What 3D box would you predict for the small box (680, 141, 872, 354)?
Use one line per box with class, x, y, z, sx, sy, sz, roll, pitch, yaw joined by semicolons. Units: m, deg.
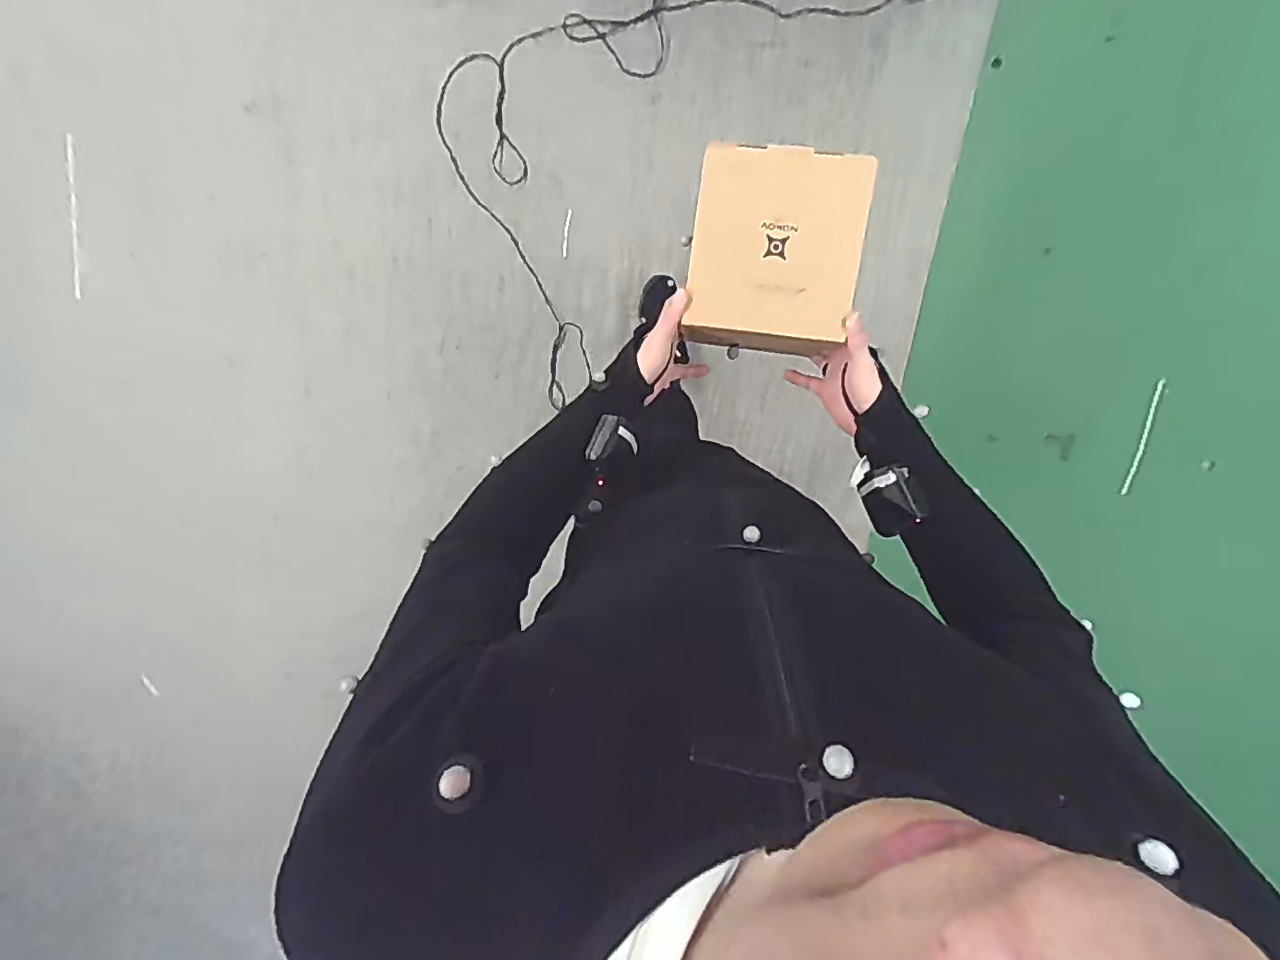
small box;0.136;-0.245;0.610;0.168;0.176;0.179;8;101;4
